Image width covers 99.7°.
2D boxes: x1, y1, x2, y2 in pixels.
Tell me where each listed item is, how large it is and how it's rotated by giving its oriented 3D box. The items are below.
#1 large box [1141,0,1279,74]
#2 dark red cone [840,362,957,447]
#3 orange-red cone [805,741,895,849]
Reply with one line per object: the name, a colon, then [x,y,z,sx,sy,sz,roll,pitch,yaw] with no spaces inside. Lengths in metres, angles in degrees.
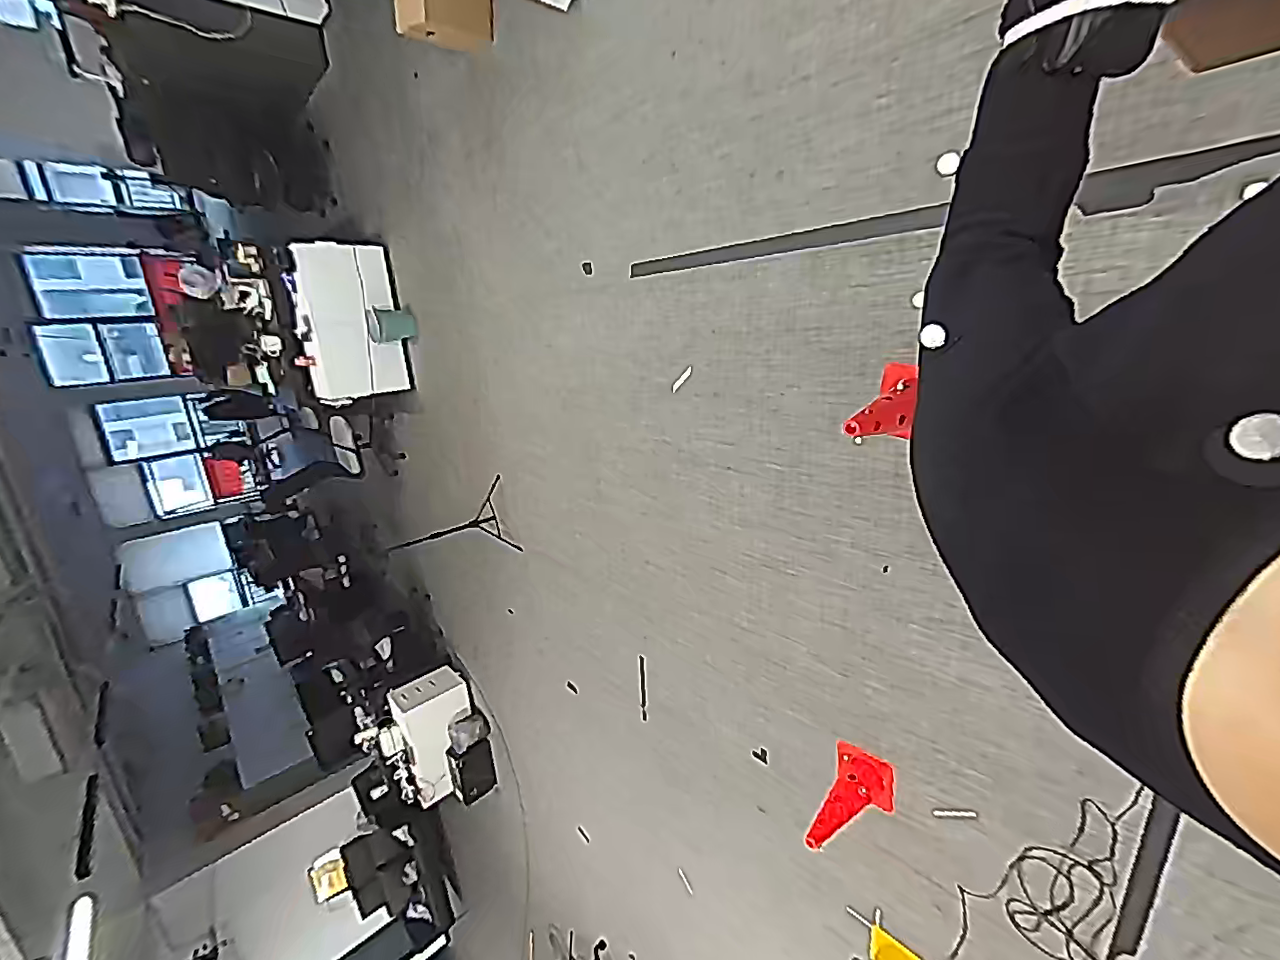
large box: [0.531,-0.460,0.243,0.408,0.320,0.320,13,118,47]
dark red cone: [0.592,-0.161,1.311,0.201,0.394,0.202,21,119,42]
orange-red cone: [0.649,1.062,1.751,0.198,0.360,0.199,11,114,48]
